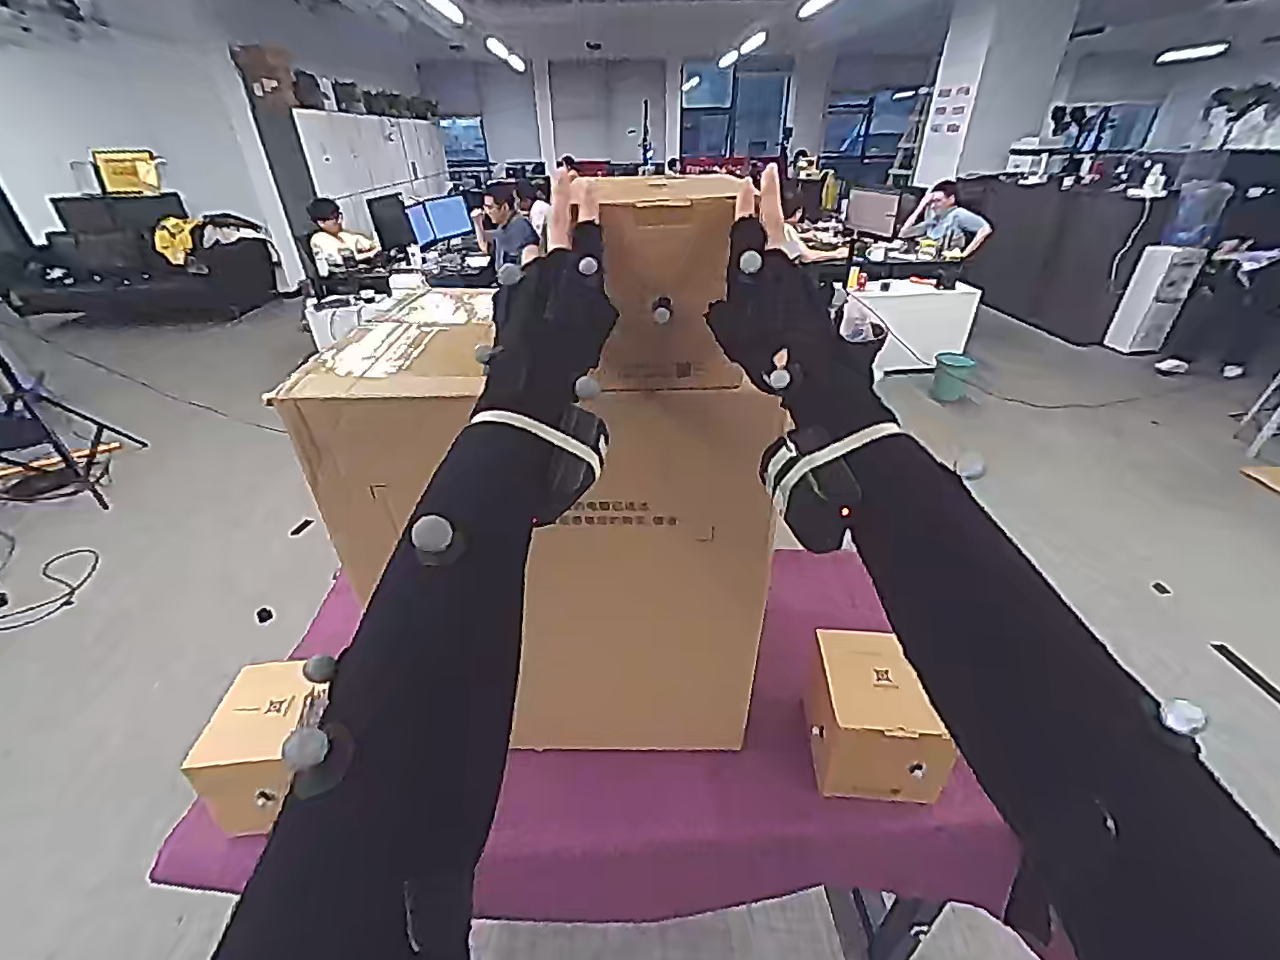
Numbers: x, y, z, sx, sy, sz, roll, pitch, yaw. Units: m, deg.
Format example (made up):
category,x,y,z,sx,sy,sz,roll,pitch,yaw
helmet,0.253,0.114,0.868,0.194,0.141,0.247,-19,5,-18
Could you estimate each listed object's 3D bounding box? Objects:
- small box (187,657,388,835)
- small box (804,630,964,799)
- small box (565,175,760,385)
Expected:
category,x,y,z,sx,sy,sz,roll,pitch,yaw
small box,-0.493,0.387,0.794,0.179,0.176,0.168,-4,31,-6
small box,0.356,0.355,0.826,0.168,0.176,0.179,2,31,5
small box,0.019,-0.204,0.556,0.168,0.176,0.179,-2,35,-1
